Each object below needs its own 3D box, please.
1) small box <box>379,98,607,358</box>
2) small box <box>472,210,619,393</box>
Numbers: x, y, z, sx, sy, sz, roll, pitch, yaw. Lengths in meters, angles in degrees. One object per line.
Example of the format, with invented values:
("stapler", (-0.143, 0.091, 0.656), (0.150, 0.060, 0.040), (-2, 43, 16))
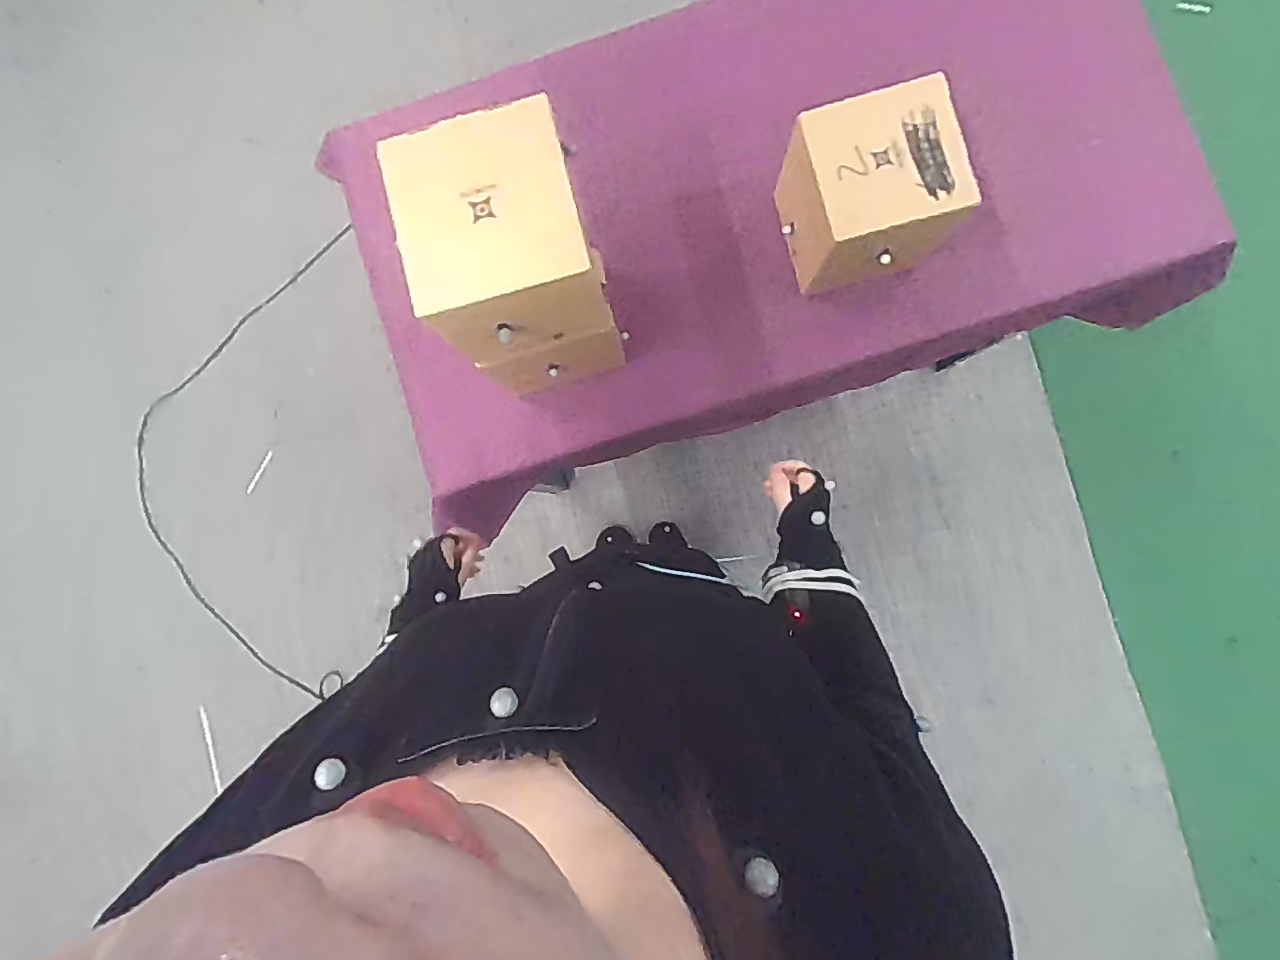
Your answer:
("small box", (-0.138, -0.242, 0.570), (0.168, 0.176, 0.179), (-15, 85, 2))
("small box", (-0.131, -0.230, 0.732), (0.179, 0.176, 0.168), (-16, 86, 3))
